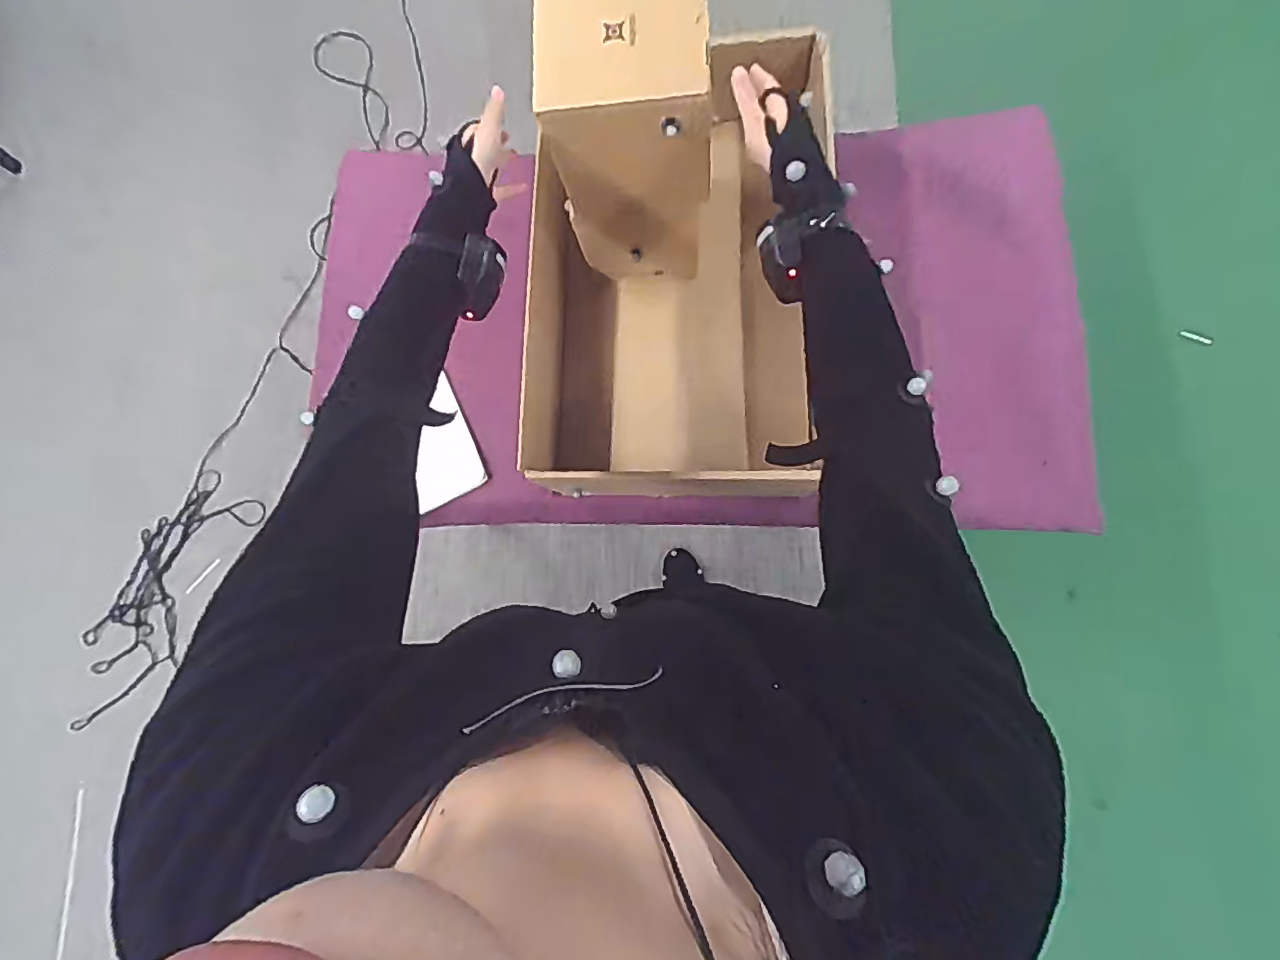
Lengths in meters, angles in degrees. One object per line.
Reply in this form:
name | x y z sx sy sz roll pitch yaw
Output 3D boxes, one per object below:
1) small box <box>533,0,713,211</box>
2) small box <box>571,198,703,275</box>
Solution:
small box | -0.009 -0.428 0.608 0.179 0.176 0.168 -2 81 6
small box | 0.004 -0.407 0.768 0.168 0.176 0.179 0 82 7
